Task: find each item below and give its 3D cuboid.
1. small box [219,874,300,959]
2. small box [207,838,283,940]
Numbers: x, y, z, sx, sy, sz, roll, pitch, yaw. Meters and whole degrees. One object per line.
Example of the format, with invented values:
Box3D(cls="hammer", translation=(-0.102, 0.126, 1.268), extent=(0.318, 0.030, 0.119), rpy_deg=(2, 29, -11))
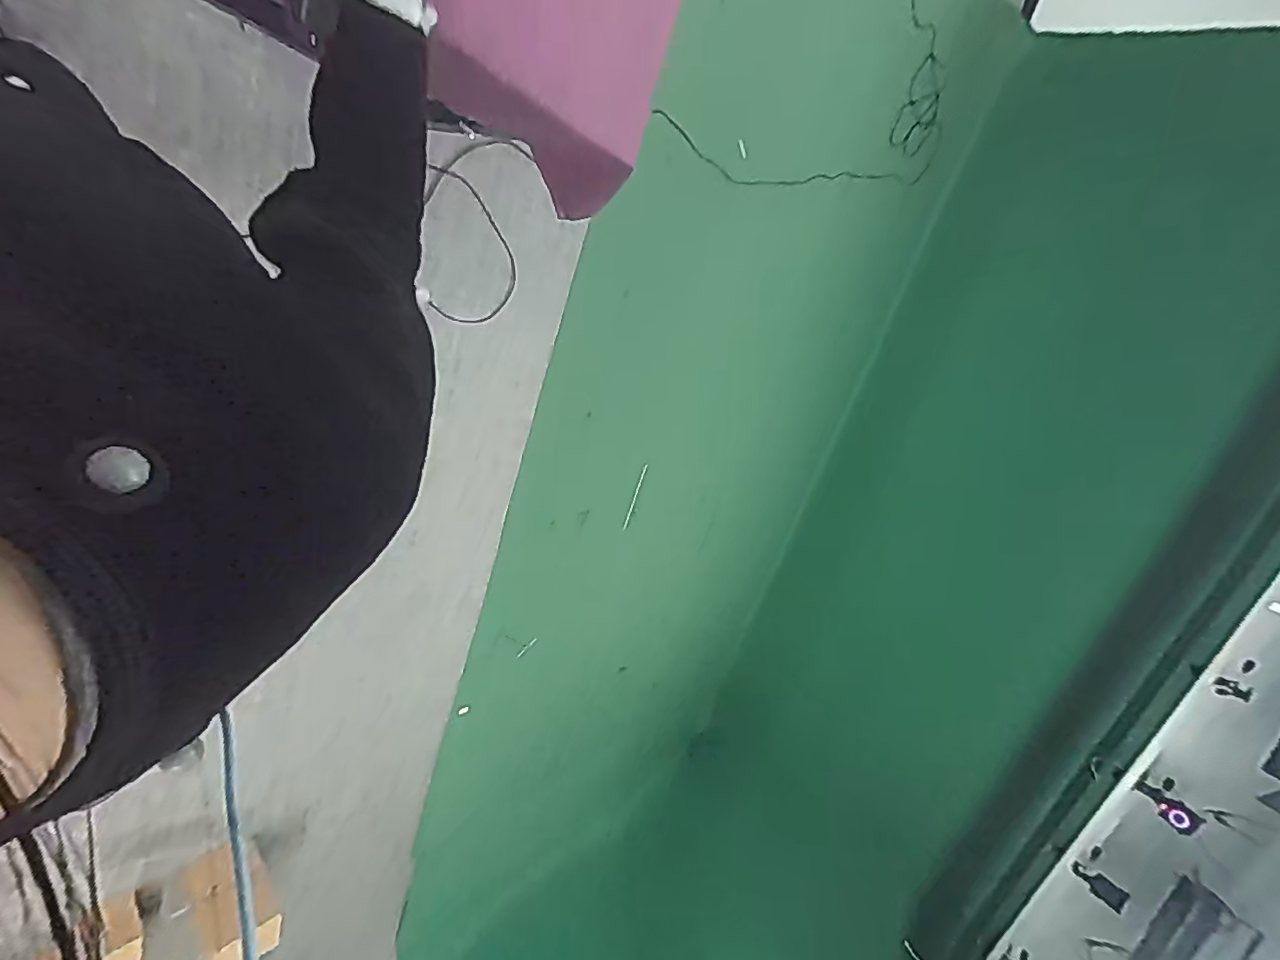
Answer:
Box3D(cls="small box", translation=(-1.207, 1.416, 1.710), extent=(0.179, 0.176, 0.168), rpy_deg=(-8, 120, -50))
Box3D(cls="small box", translation=(-1.325, 1.360, 1.808), extent=(0.179, 0.176, 0.168), rpy_deg=(-8, 120, -50))
